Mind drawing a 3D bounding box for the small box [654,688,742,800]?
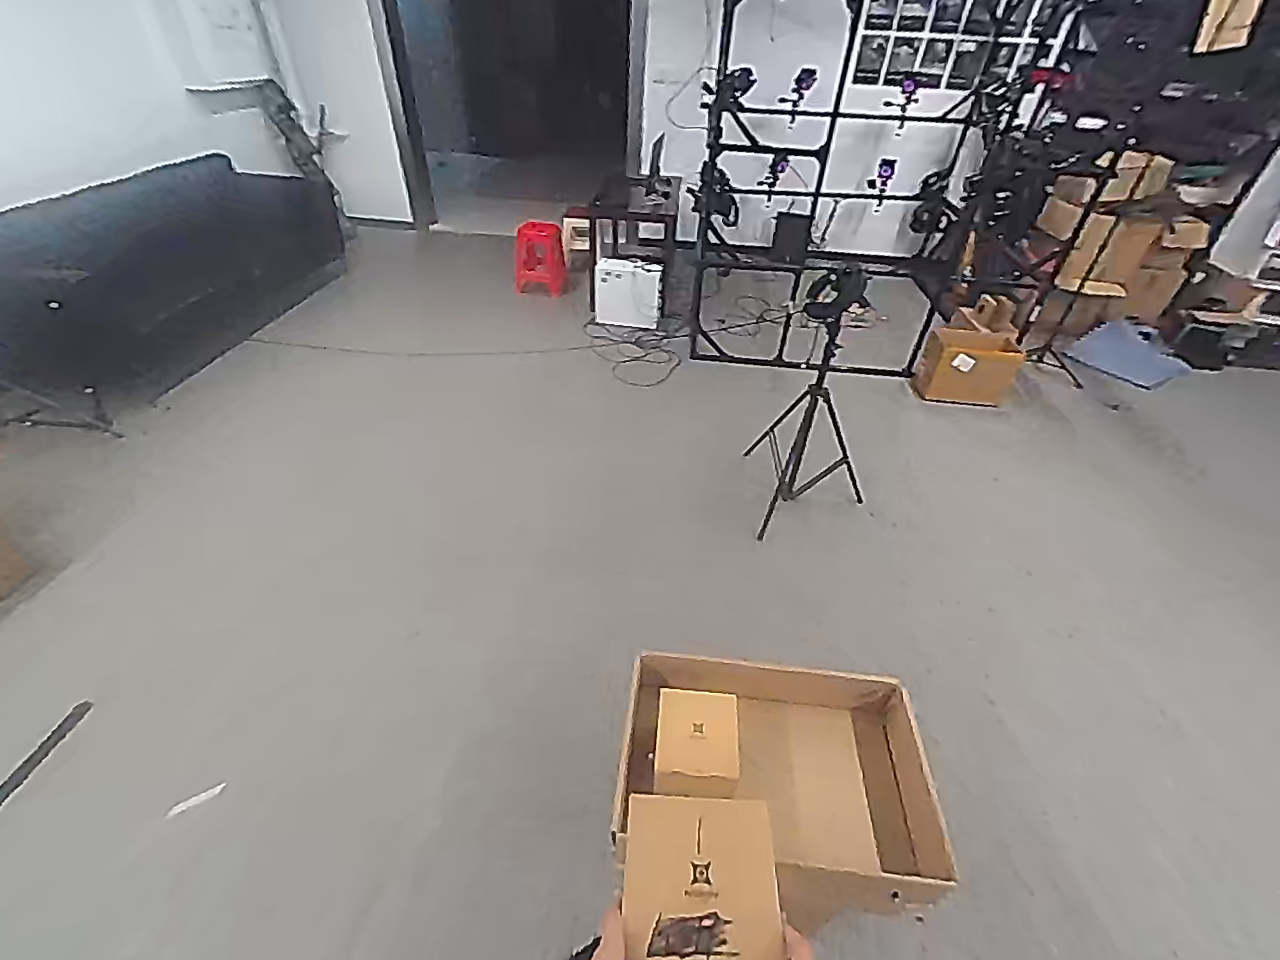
[{"bbox_3d":[0.119,0.574,1.149,0.168,0.176,0.179,4,40,4],"label":"small box"}]

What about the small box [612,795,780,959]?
[{"bbox_3d":[0.060,0.494,0.620,0.168,0.176,0.179,1,35,3],"label":"small box"}]
